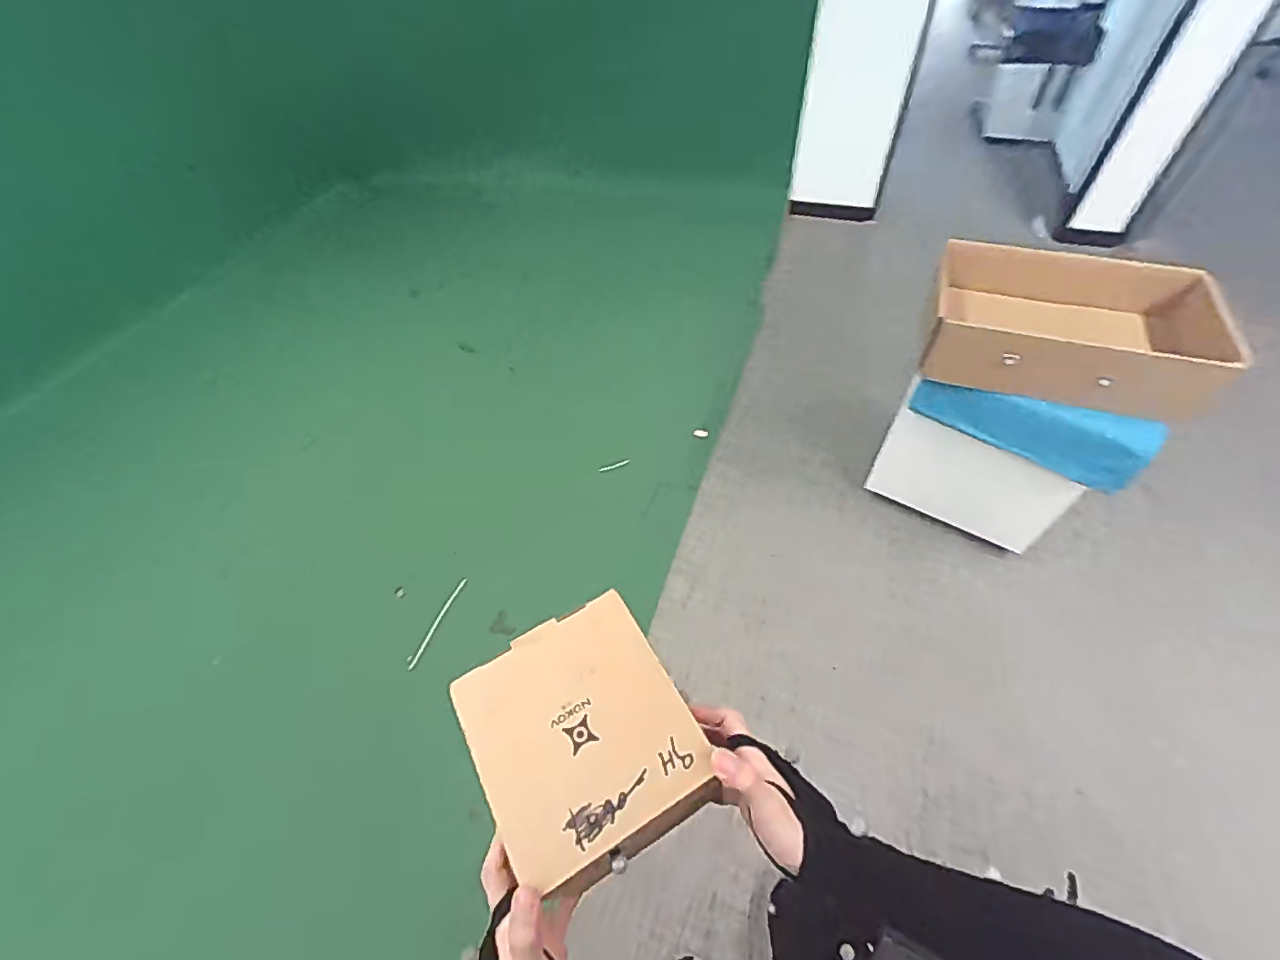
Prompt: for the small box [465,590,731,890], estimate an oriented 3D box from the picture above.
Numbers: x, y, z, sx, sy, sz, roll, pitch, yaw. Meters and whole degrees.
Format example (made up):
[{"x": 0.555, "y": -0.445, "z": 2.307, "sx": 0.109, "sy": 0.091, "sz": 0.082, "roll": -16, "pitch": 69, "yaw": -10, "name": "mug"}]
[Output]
[{"x": -0.033, "y": 0.241, "z": 0.499, "sx": 0.168, "sy": 0.176, "sz": 0.179, "roll": -28, "pitch": 55, "yaw": -12, "name": "small box"}]
